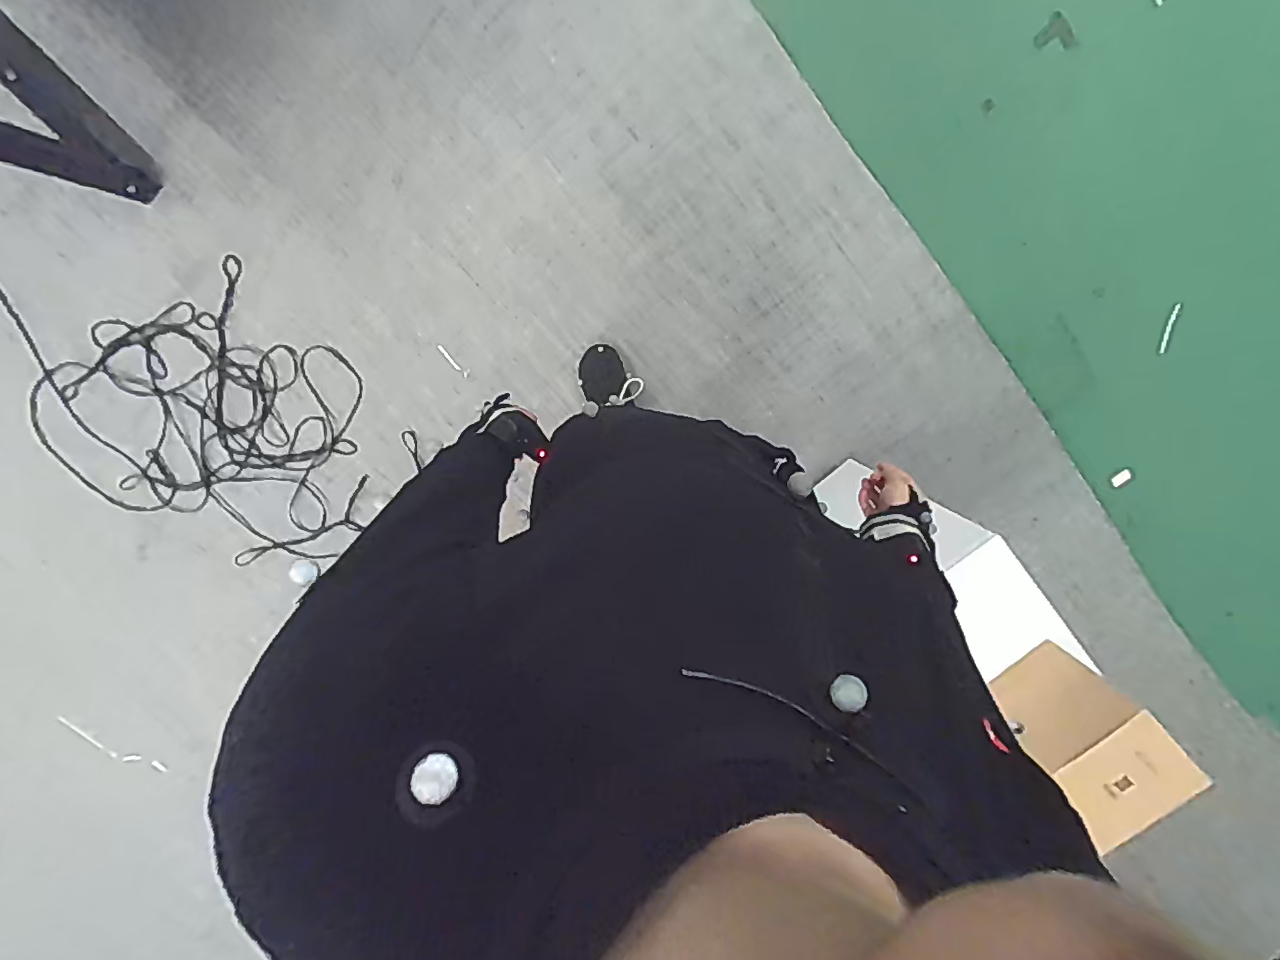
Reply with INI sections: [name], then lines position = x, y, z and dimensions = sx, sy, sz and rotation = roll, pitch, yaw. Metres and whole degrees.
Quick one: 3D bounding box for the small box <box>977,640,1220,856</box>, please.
[small box]
position = 0.624, 0.369, 0.767
dimensions = 0.168, 0.176, 0.179
rotation = 43, 99, -11
